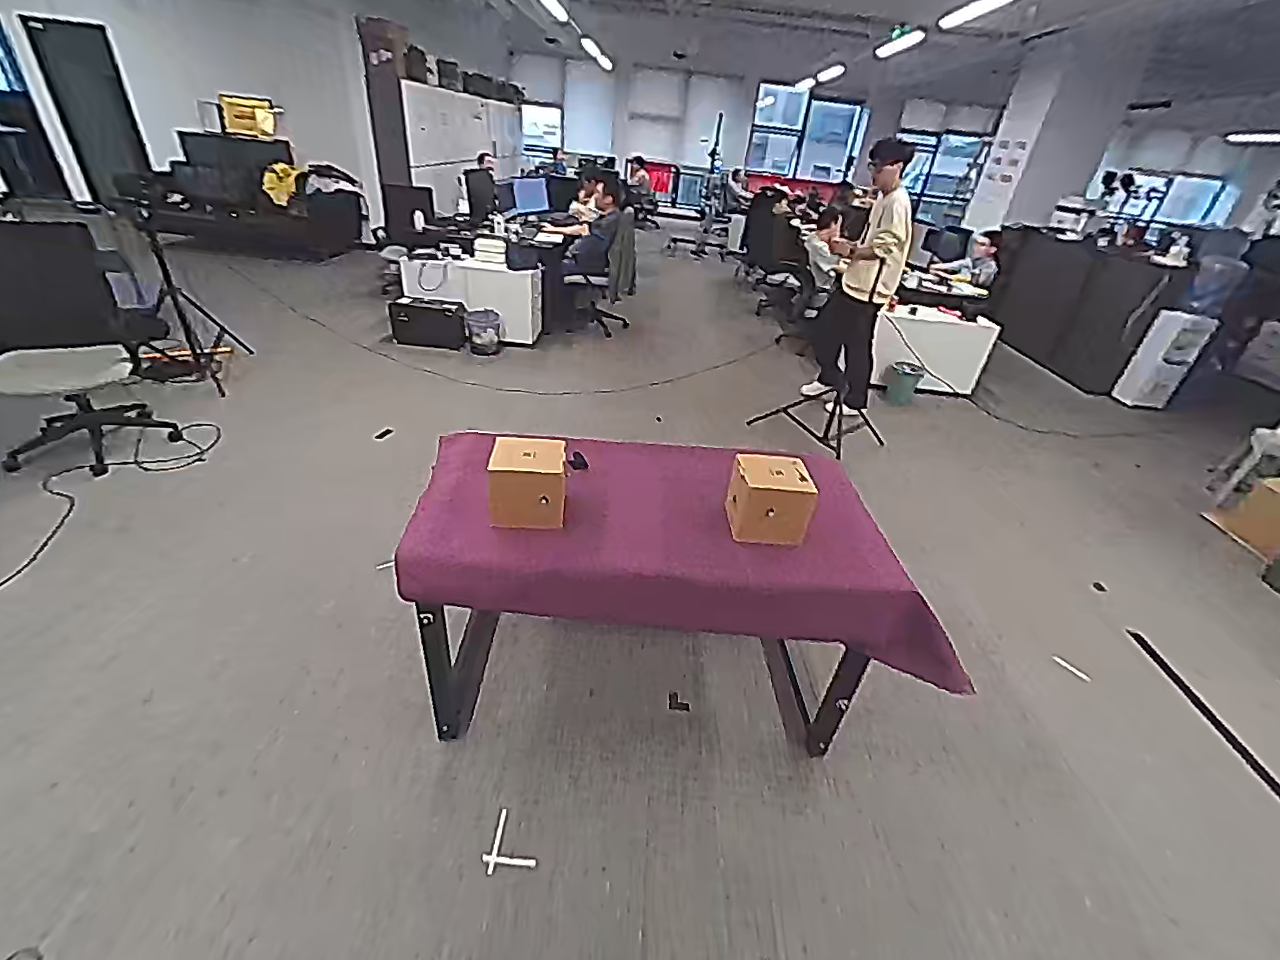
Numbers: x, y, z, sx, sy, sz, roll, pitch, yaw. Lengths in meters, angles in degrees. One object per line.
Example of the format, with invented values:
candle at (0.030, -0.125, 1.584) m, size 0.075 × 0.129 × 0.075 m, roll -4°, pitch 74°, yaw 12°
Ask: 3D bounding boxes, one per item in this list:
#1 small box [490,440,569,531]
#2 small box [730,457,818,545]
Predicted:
small box at (-0.271, 0.015, 1.357) m, size 0.179 × 0.176 × 0.168 m, roll 1°, pitch 31°, yaw -6°
small box at (0.336, 0.055, 1.399) m, size 0.179 × 0.176 × 0.168 m, roll 3°, pitch 32°, yaw -3°
